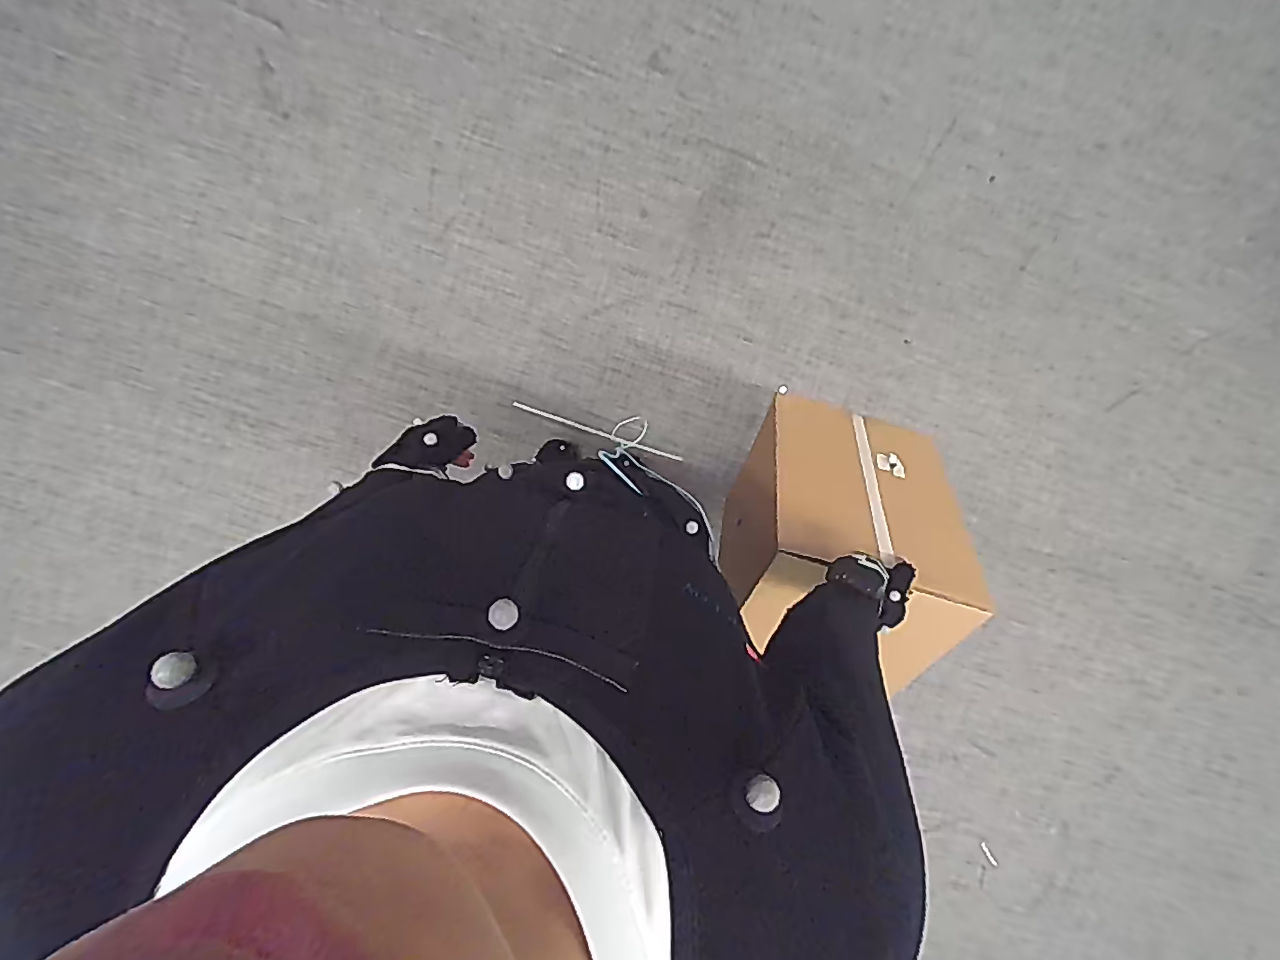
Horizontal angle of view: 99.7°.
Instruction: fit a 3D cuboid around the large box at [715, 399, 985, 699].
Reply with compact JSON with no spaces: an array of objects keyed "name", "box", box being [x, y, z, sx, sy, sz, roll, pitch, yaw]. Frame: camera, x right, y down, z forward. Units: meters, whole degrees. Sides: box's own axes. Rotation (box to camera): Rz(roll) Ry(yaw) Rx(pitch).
[{"name":"large box","box":[0.337,0.119,0.993,0.320,0.408,0.320,17,132,-1]}]
